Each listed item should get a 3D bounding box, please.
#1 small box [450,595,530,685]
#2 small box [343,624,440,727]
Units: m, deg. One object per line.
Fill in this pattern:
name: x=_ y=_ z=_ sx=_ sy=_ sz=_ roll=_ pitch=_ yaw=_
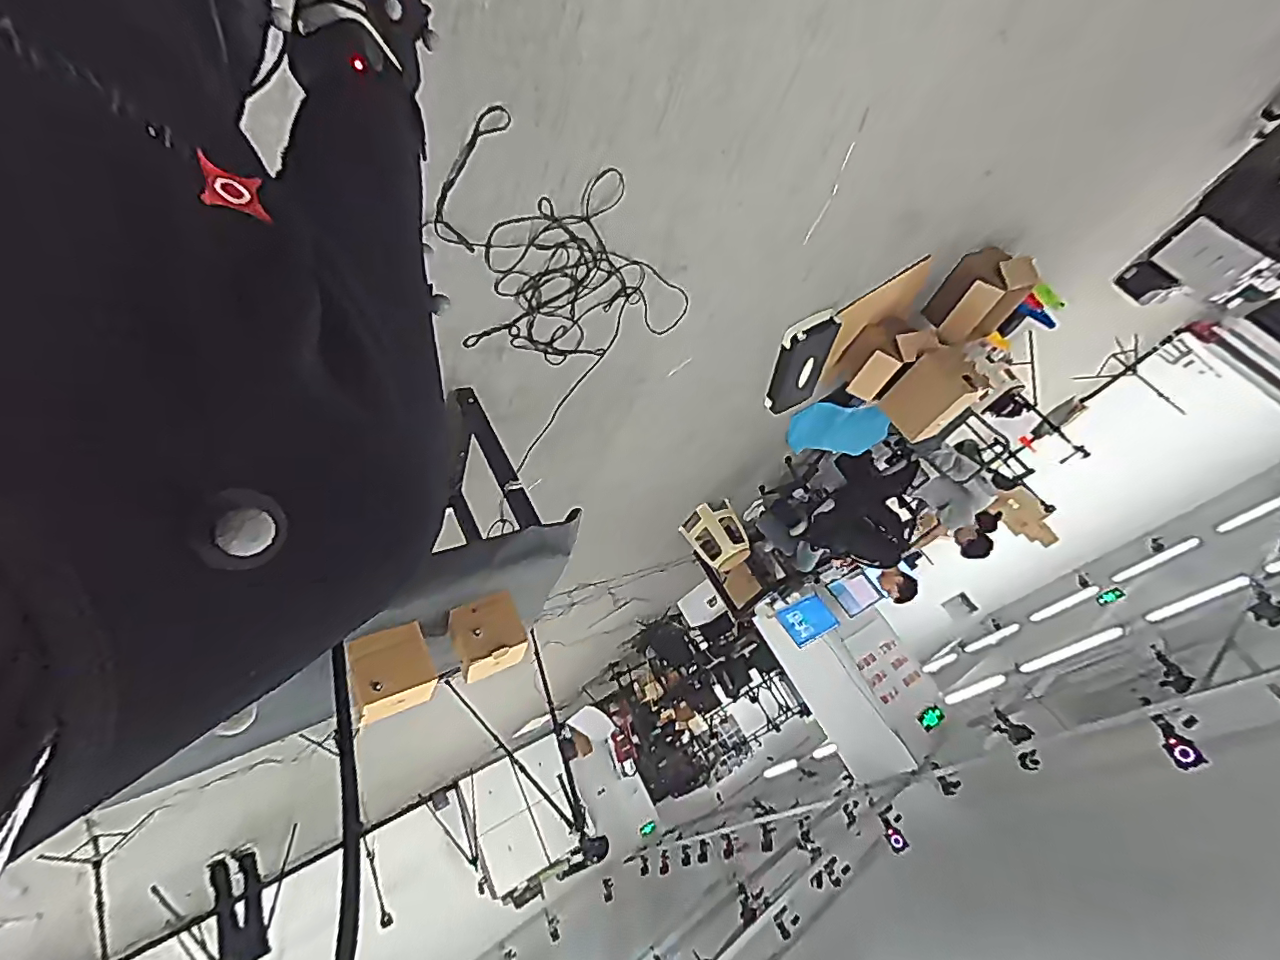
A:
small box: x=-0.429 y=0.443 z=1.524 sx=0.168 sy=0.176 sz=0.179 roll=-16 pitch=152 yaw=-30
small box: x=-0.633 y=0.490 z=1.371 sx=0.179 sy=0.176 sz=0.168 roll=-11 pitch=149 yaw=-38
